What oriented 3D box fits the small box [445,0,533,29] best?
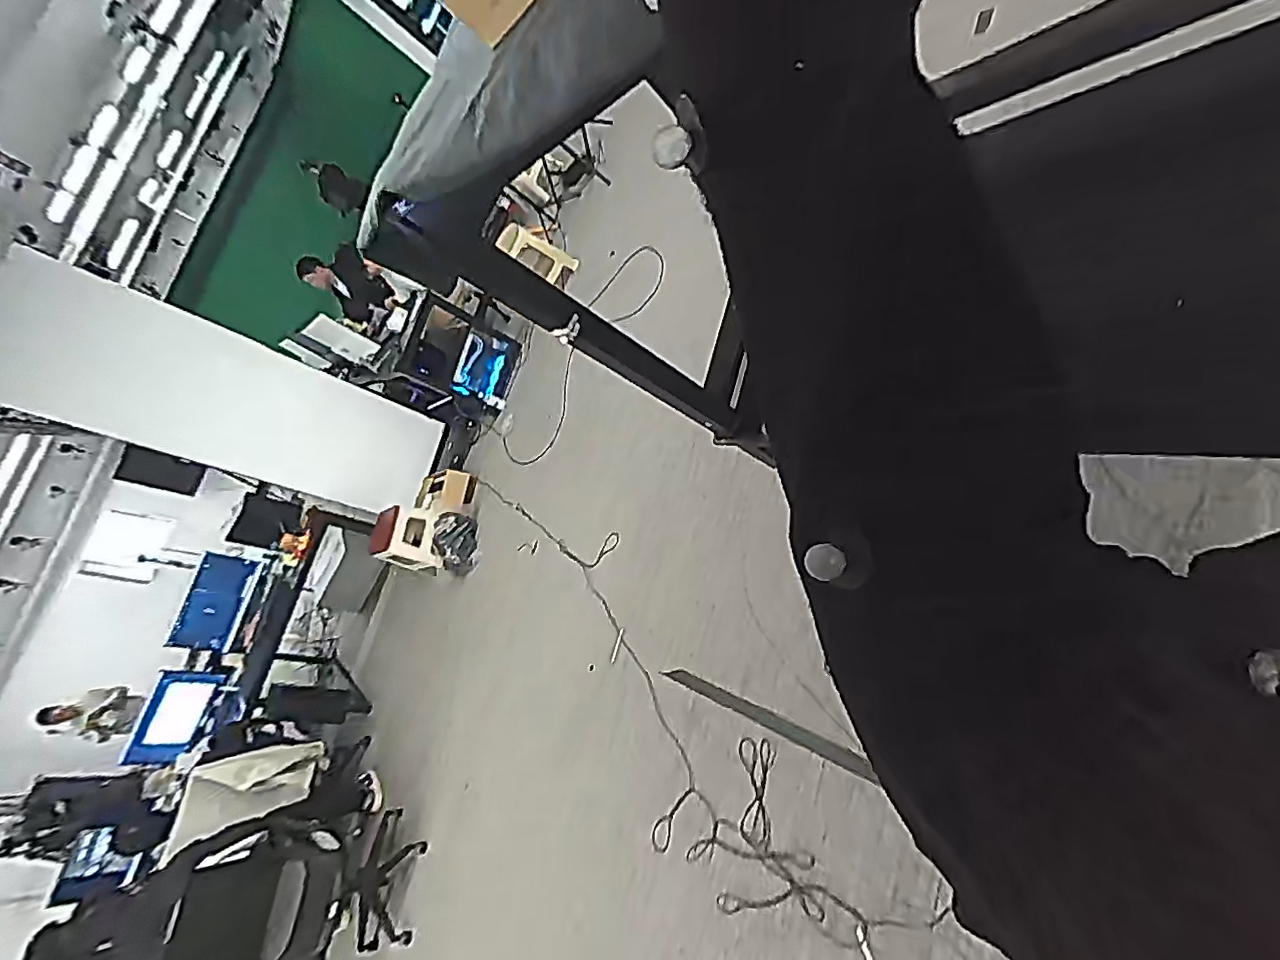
[{"bbox_3d":[-0.110,-0.475,0.379,0.168,0.176,0.179,9,77,50],"label":"small box"}]
